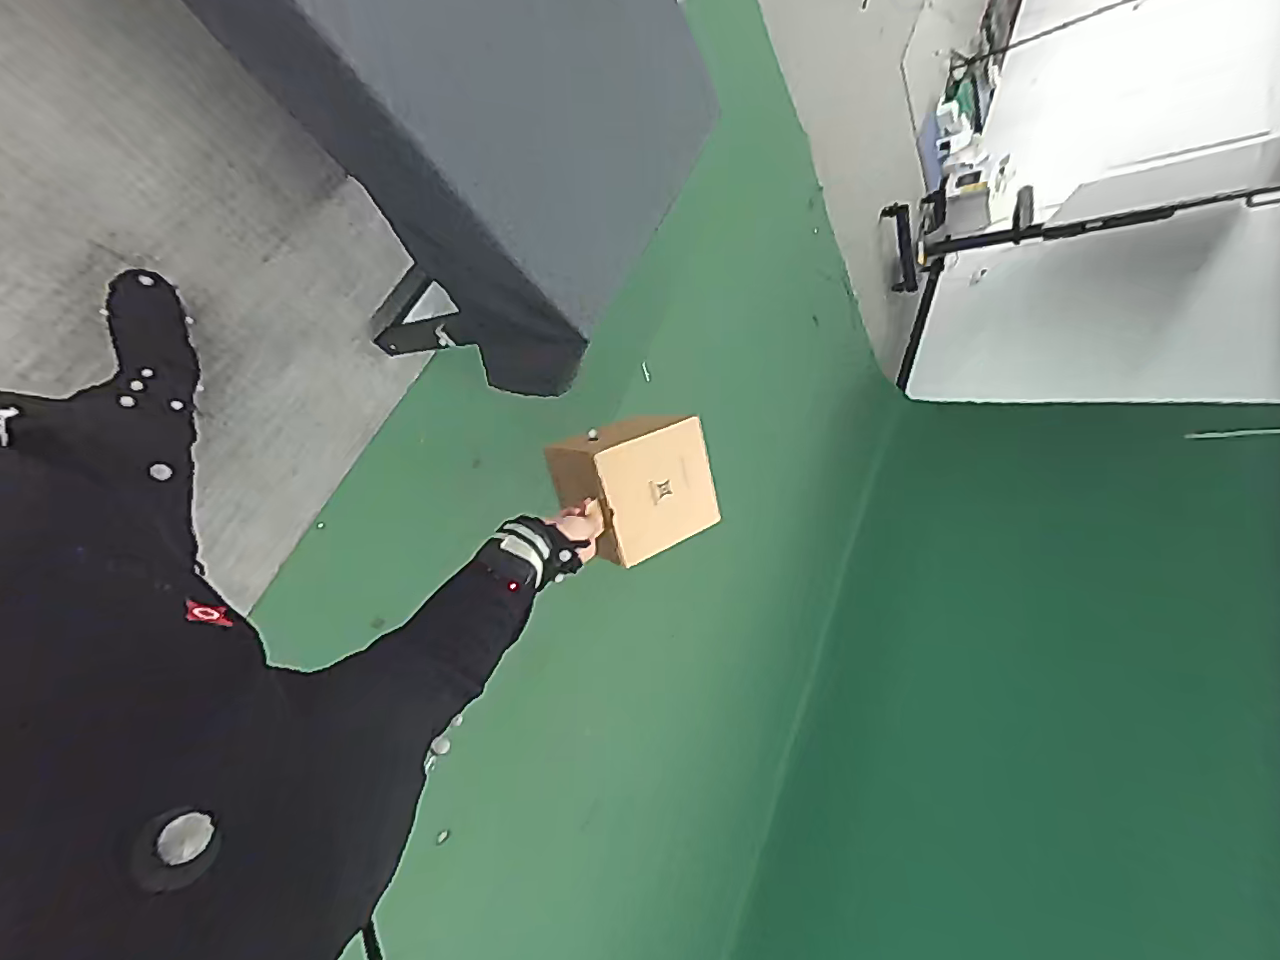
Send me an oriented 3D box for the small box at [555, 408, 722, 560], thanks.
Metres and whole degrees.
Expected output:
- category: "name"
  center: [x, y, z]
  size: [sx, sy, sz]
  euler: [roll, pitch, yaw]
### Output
- category: "small box"
  center: [-0.010, -0.004, 0.800]
  size: [0.179, 0.176, 0.168]
  euler: [-24, 110, -29]
